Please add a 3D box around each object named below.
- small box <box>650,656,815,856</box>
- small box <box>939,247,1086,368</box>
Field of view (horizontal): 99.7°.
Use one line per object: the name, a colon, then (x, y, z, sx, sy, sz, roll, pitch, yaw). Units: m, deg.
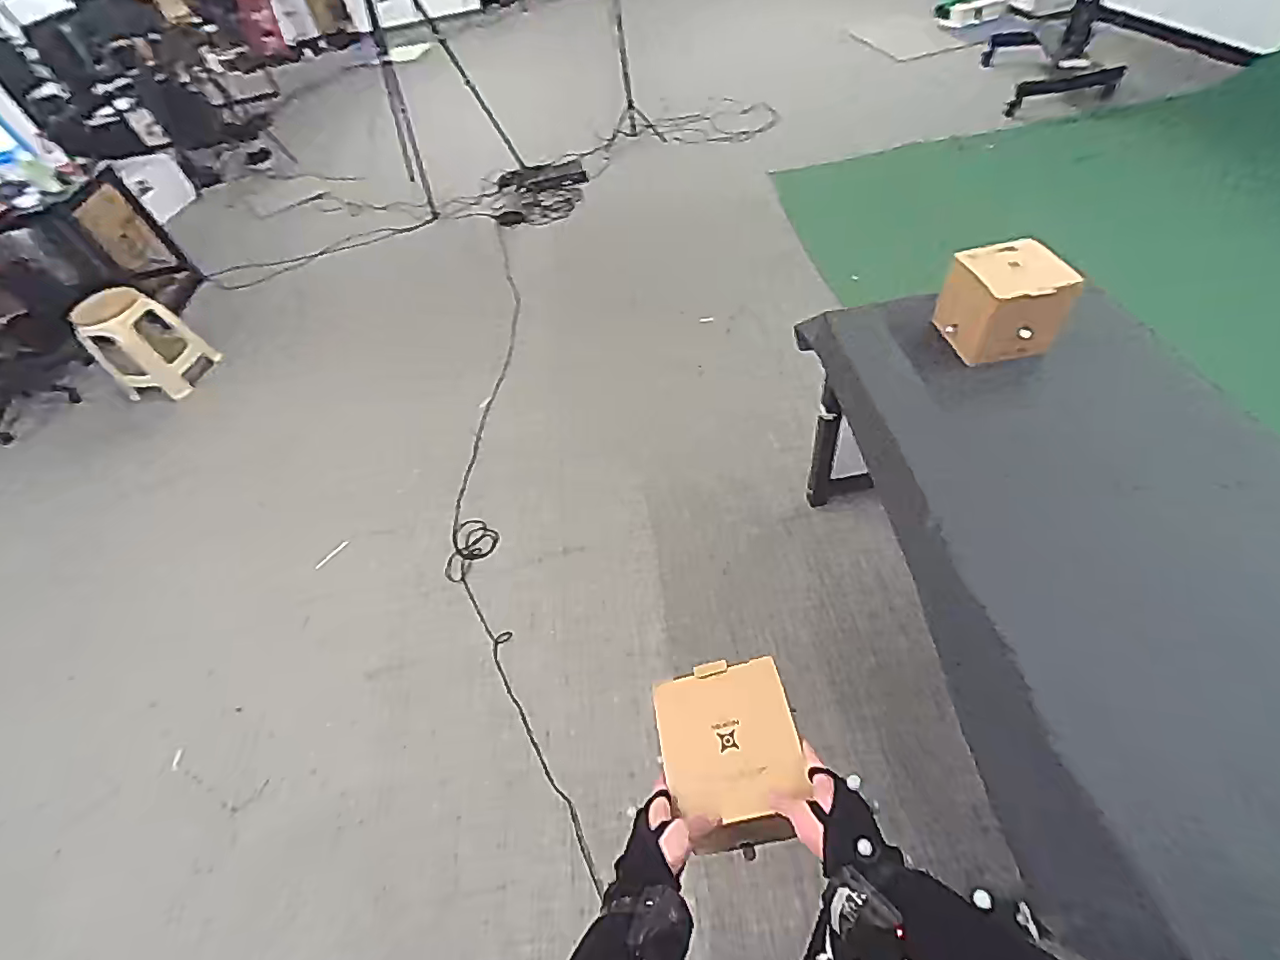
small box: (0.117, 0.356, 0.693, 0.168, 0.176, 0.179, -15, 46, 7)
small box: (0.761, -0.351, 1.129, 0.168, 0.176, 0.179, -10, 52, 2)
